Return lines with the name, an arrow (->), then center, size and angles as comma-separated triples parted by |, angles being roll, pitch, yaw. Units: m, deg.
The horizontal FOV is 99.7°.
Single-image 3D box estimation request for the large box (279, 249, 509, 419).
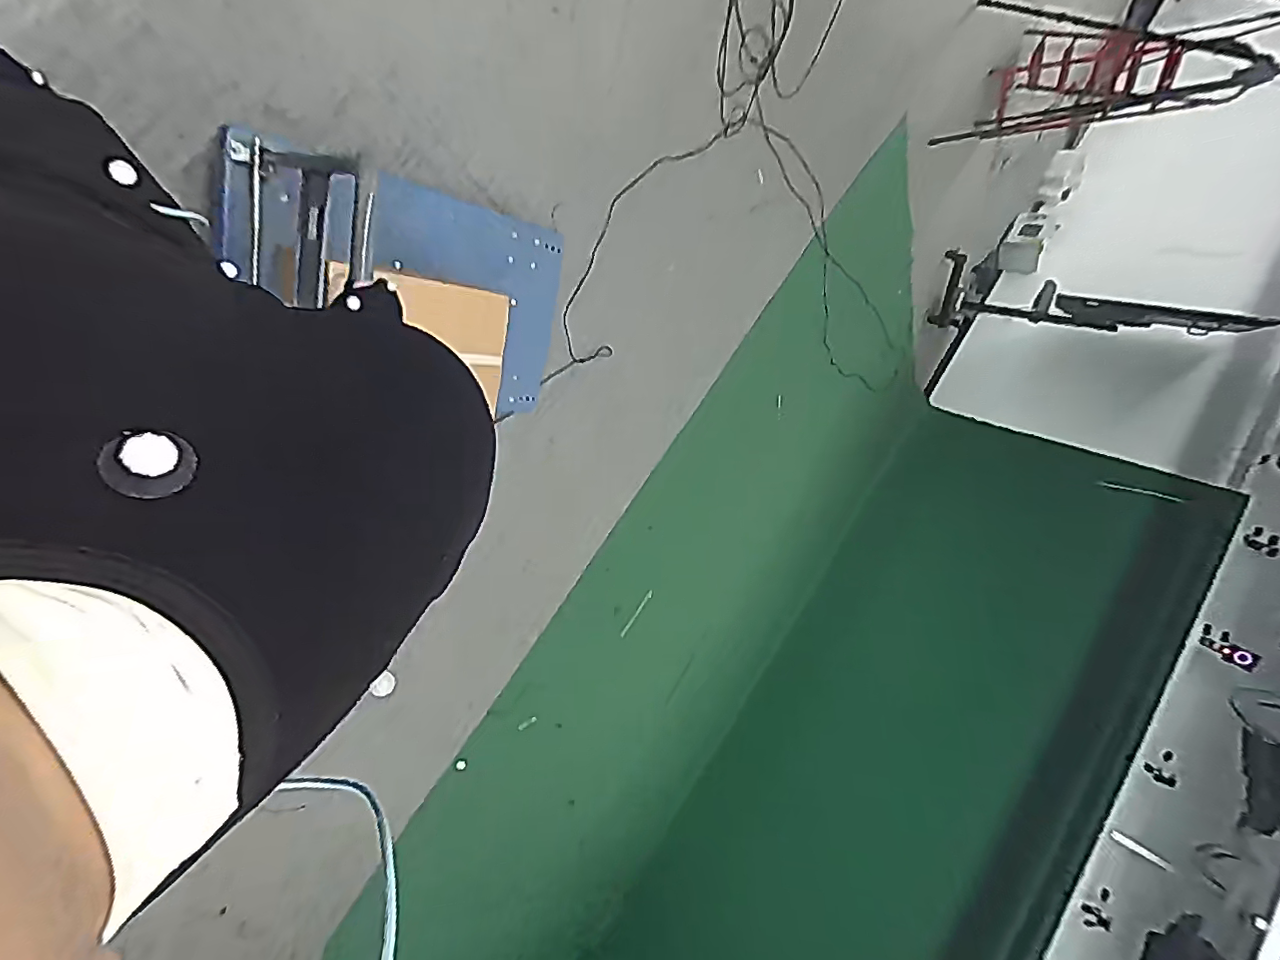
large box -> -0.585, -0.341, 1.290 | 0.408, 0.320, 0.320 | -8, 118, -48
